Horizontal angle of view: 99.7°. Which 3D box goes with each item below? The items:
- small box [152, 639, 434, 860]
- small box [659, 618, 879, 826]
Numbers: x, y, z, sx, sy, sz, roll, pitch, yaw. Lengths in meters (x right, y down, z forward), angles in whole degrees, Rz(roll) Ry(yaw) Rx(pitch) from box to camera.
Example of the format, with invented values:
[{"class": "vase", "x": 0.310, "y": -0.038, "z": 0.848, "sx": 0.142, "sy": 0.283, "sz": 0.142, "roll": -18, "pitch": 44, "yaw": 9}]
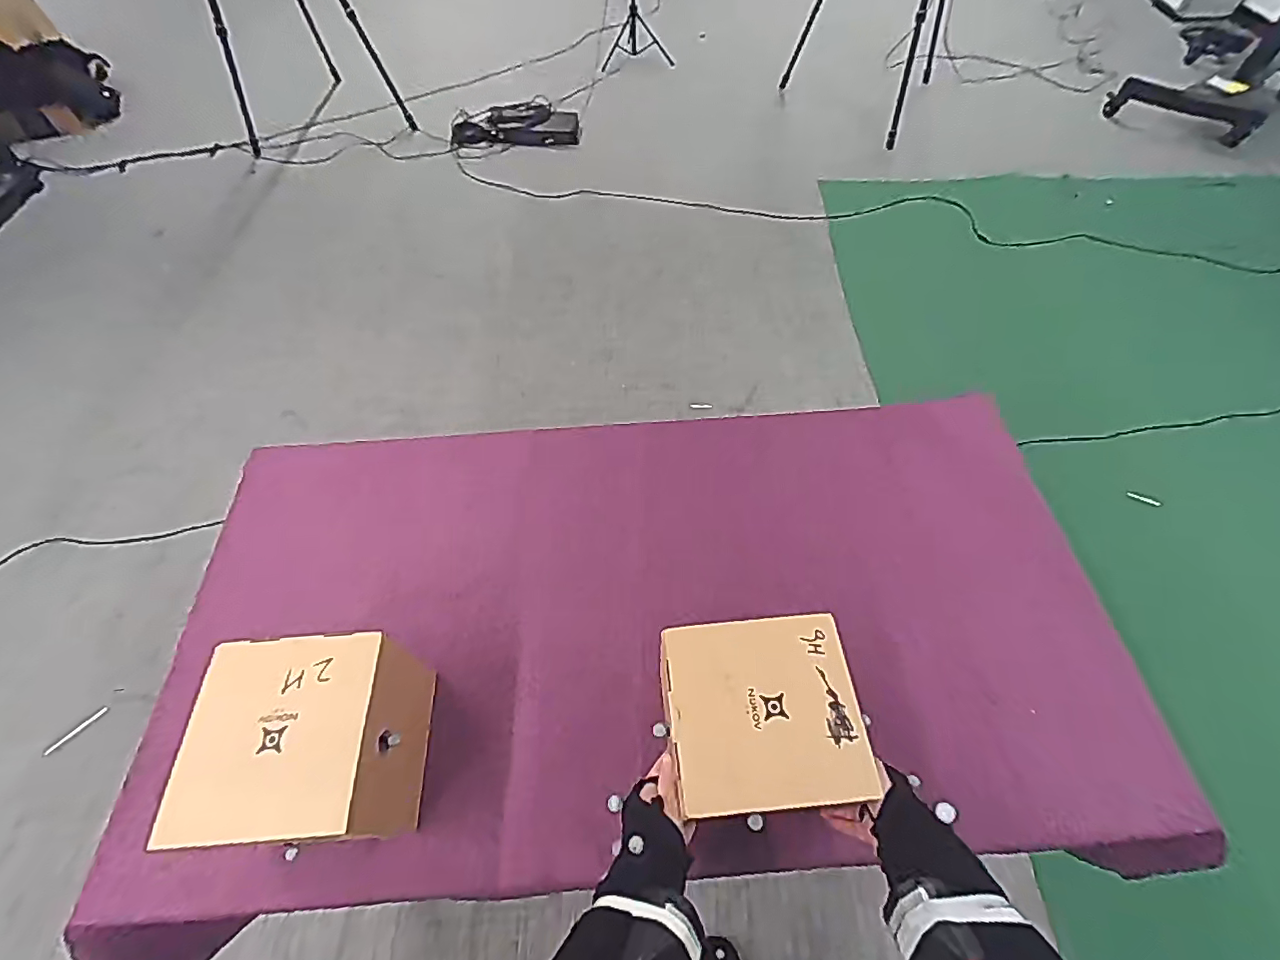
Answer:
[{"class": "small box", "x": -0.331, "y": 0.280, "z": 0.563, "sx": 0.168, "sy": 0.176, "sz": 0.179, "roll": -4, "pitch": 56, "yaw": -2}, {"class": "small box", "x": 0.116, "y": 0.258, "z": 0.566, "sx": 0.179, "sy": 0.176, "sz": 0.168, "roll": -5, "pitch": 57, "yaw": -1}]
